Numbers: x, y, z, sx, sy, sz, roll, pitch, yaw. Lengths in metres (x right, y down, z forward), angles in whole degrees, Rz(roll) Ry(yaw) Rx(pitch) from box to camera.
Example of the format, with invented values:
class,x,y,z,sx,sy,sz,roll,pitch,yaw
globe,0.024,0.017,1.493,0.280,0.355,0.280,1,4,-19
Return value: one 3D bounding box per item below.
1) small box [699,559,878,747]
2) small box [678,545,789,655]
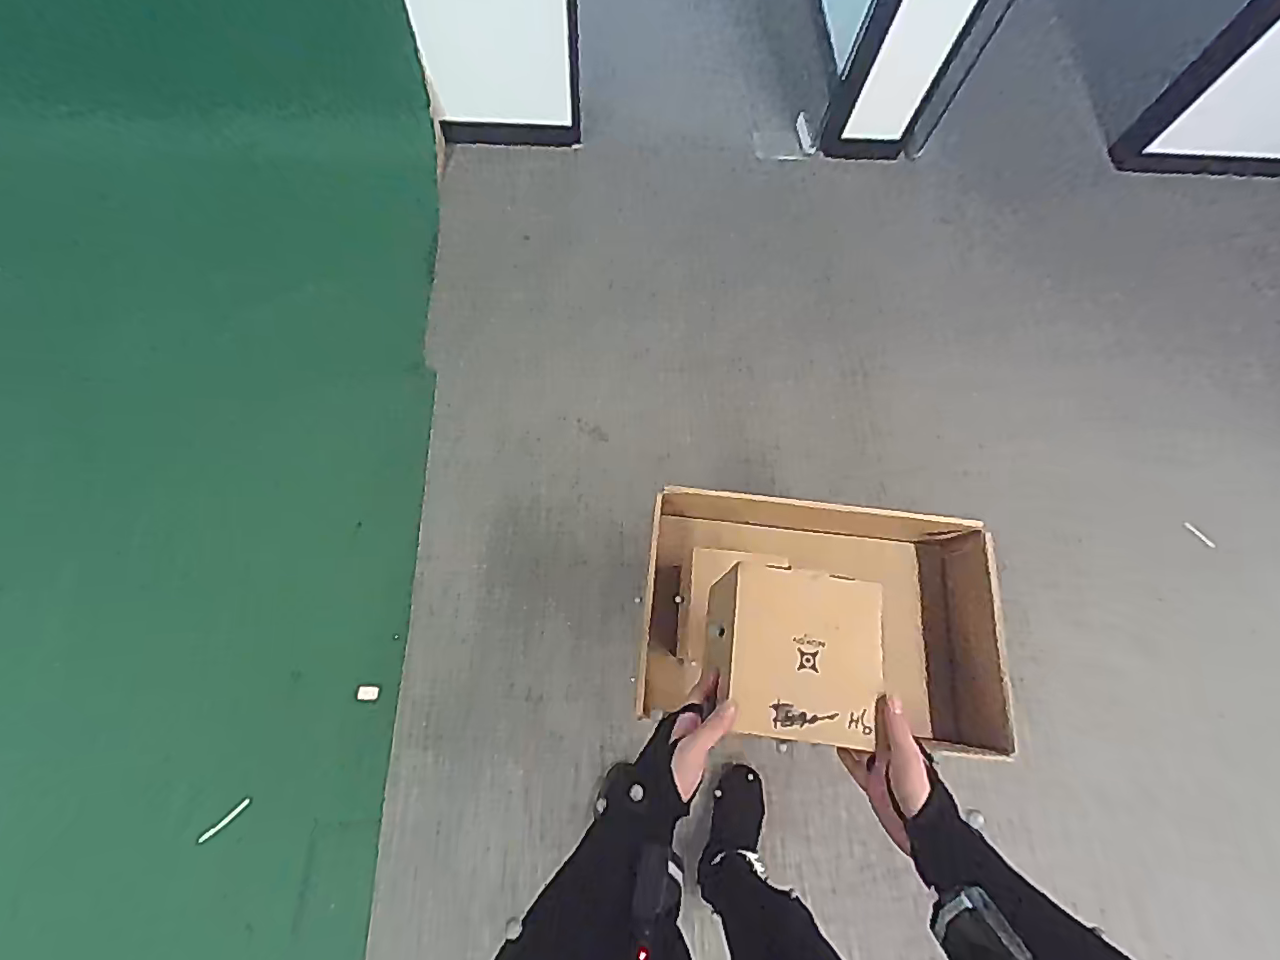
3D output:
class,x,y,z,sx,sy,sz,roll,pitch,yaw
small box,0.168,0.209,0.653,0.168,0.176,0.179,8,69,0
small box,0.160,0.224,0.960,0.168,0.176,0.179,5,70,-1
